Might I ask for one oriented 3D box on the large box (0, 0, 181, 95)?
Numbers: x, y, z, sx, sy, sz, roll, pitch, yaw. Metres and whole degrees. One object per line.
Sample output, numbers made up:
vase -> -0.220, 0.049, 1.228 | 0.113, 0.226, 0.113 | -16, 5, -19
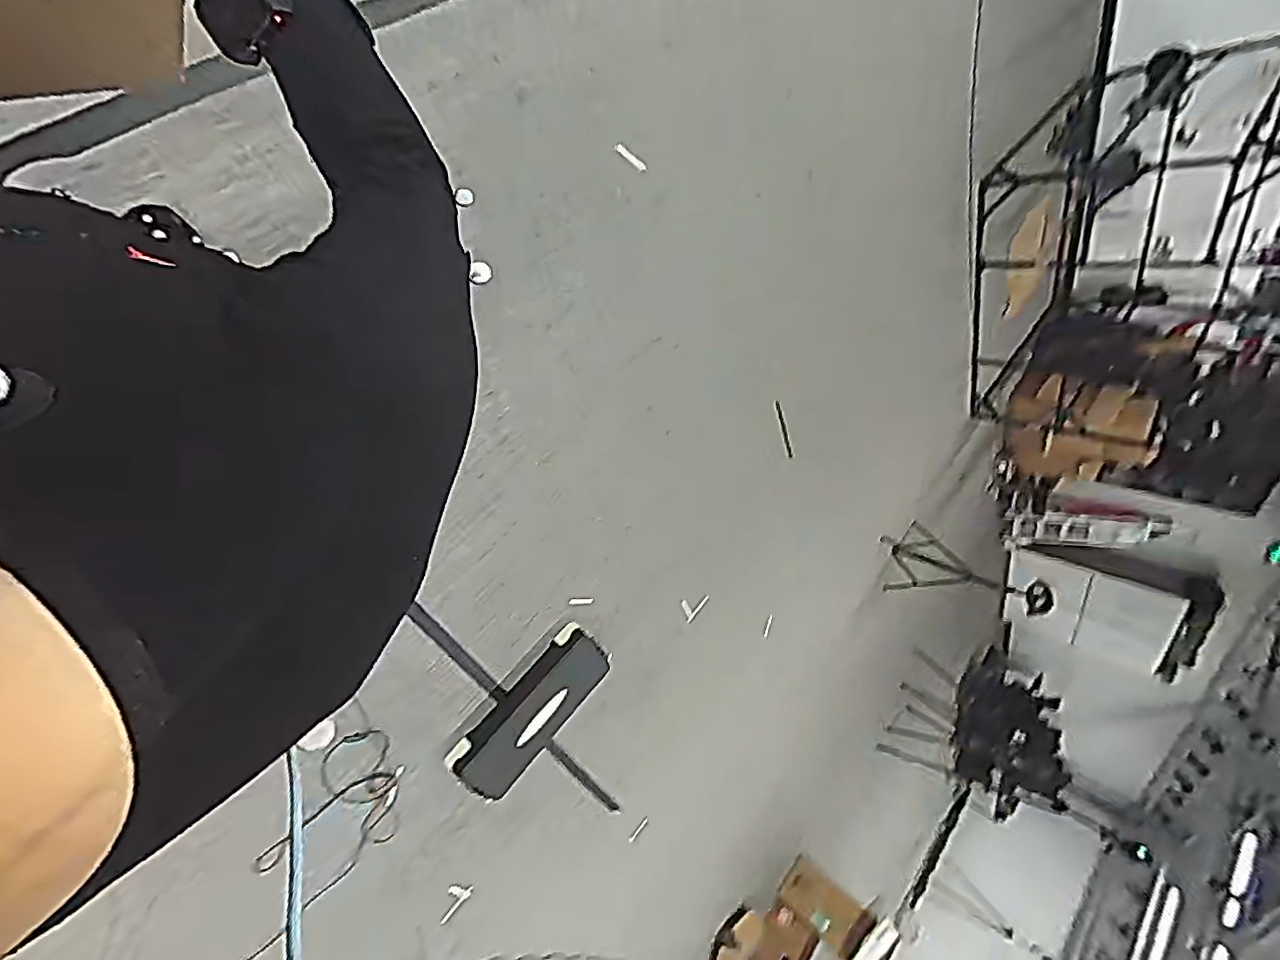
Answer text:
large box -> -0.558, -0.415, 0.279 | 0.408, 0.320, 0.320 | -32, 123, -29
